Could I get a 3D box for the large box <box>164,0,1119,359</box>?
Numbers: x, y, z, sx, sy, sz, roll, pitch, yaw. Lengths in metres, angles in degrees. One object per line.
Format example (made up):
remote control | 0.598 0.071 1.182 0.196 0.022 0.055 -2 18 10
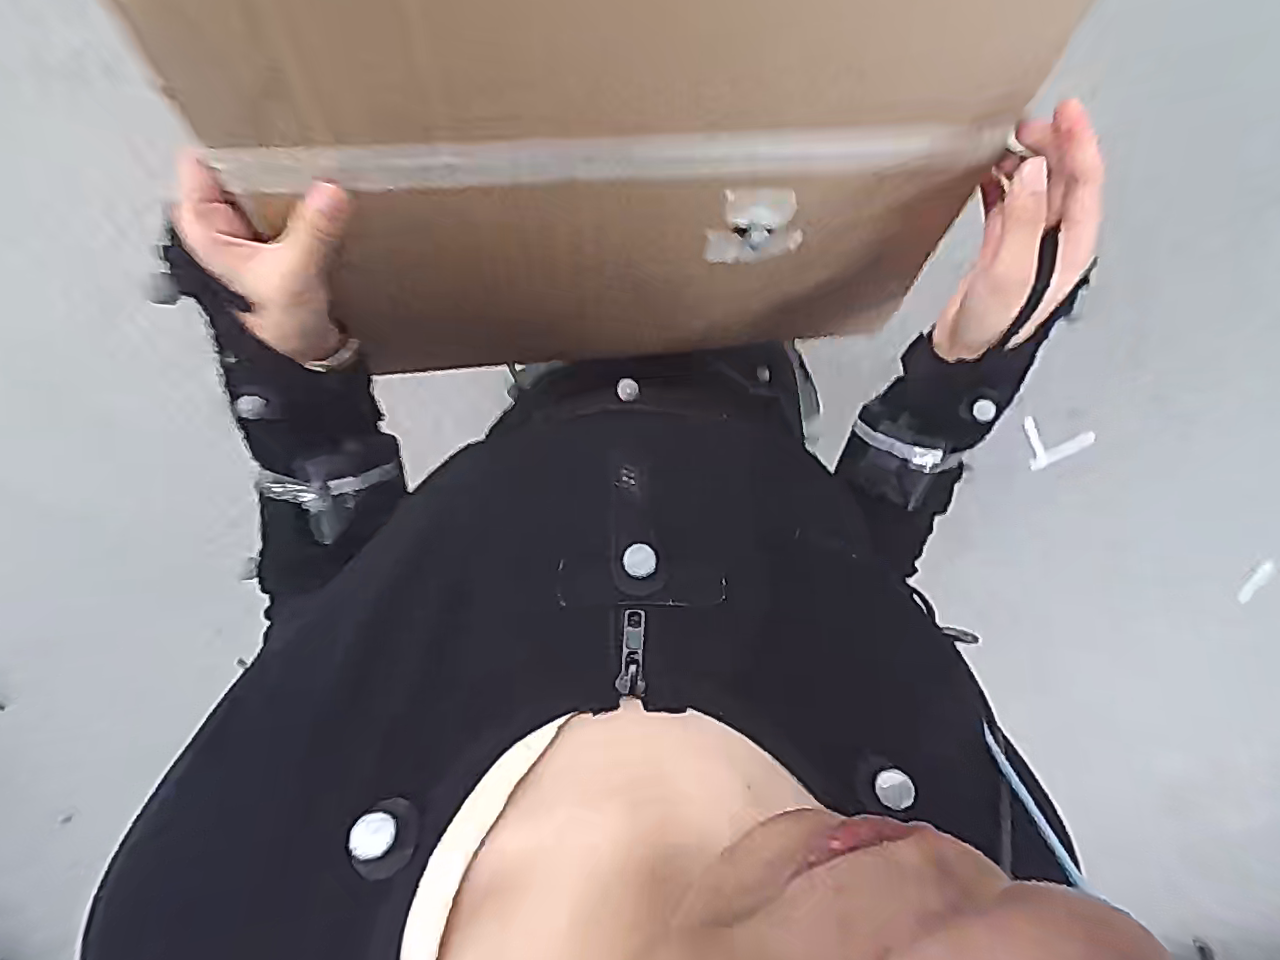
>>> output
large box | -0.008 -0.308 0.322 0.408 0.320 0.320 -7 154 -9
